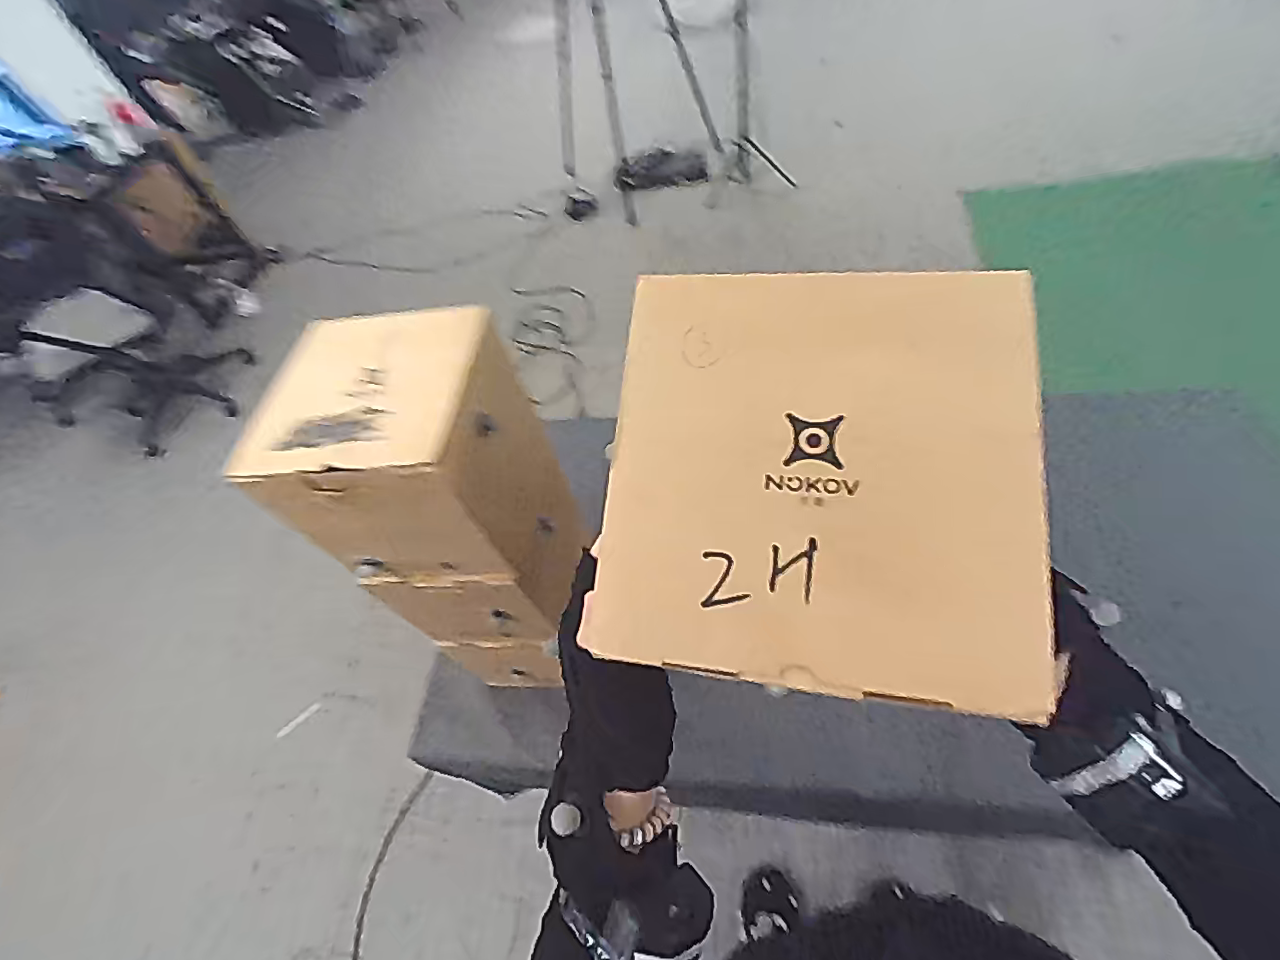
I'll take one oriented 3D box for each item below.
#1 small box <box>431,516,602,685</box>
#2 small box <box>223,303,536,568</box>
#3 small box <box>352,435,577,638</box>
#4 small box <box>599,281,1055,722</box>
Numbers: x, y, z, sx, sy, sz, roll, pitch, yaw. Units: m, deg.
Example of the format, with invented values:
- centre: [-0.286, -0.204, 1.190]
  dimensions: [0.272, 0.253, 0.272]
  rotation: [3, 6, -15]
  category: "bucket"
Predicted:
- centre: [-0.153, 0.167, 0.743]
  dimensions: [0.168, 0.176, 0.179]
  rotation: [-3, 55, 10]
  category: "small box"
- centre: [-0.205, -0.030, 0.487]
  dimensions: [0.168, 0.176, 0.179]
  rotation: [-3, 54, 8]
  category: "small box"
- centre: [-0.178, 0.071, 0.614]
  dimensions: [0.168, 0.176, 0.179]
  rotation: [-2, 54, 10]
  category: "small box"
- centre: [0.089, 0.015, 0.297]
  dimensions: [0.168, 0.176, 0.179]
  rotation: [4, 75, 14]
  category: "small box"
